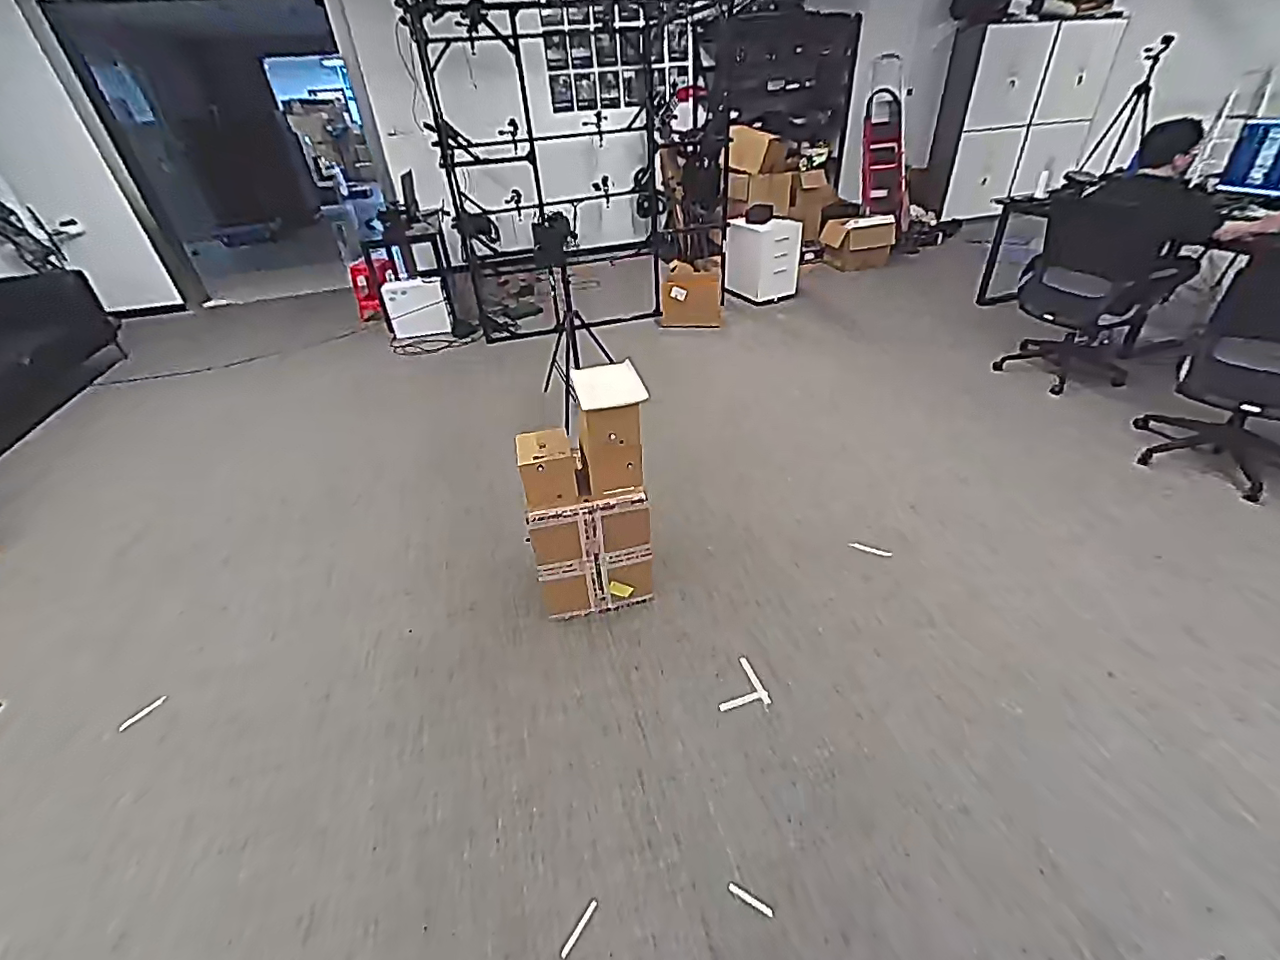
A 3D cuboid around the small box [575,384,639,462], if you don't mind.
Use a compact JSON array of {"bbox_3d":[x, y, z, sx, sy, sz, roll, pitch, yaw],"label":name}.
[{"bbox_3d":[-0.103,-0.177,1.665,0.168,0.176,0.179,-10,38,-11],"label":"small box"}]
